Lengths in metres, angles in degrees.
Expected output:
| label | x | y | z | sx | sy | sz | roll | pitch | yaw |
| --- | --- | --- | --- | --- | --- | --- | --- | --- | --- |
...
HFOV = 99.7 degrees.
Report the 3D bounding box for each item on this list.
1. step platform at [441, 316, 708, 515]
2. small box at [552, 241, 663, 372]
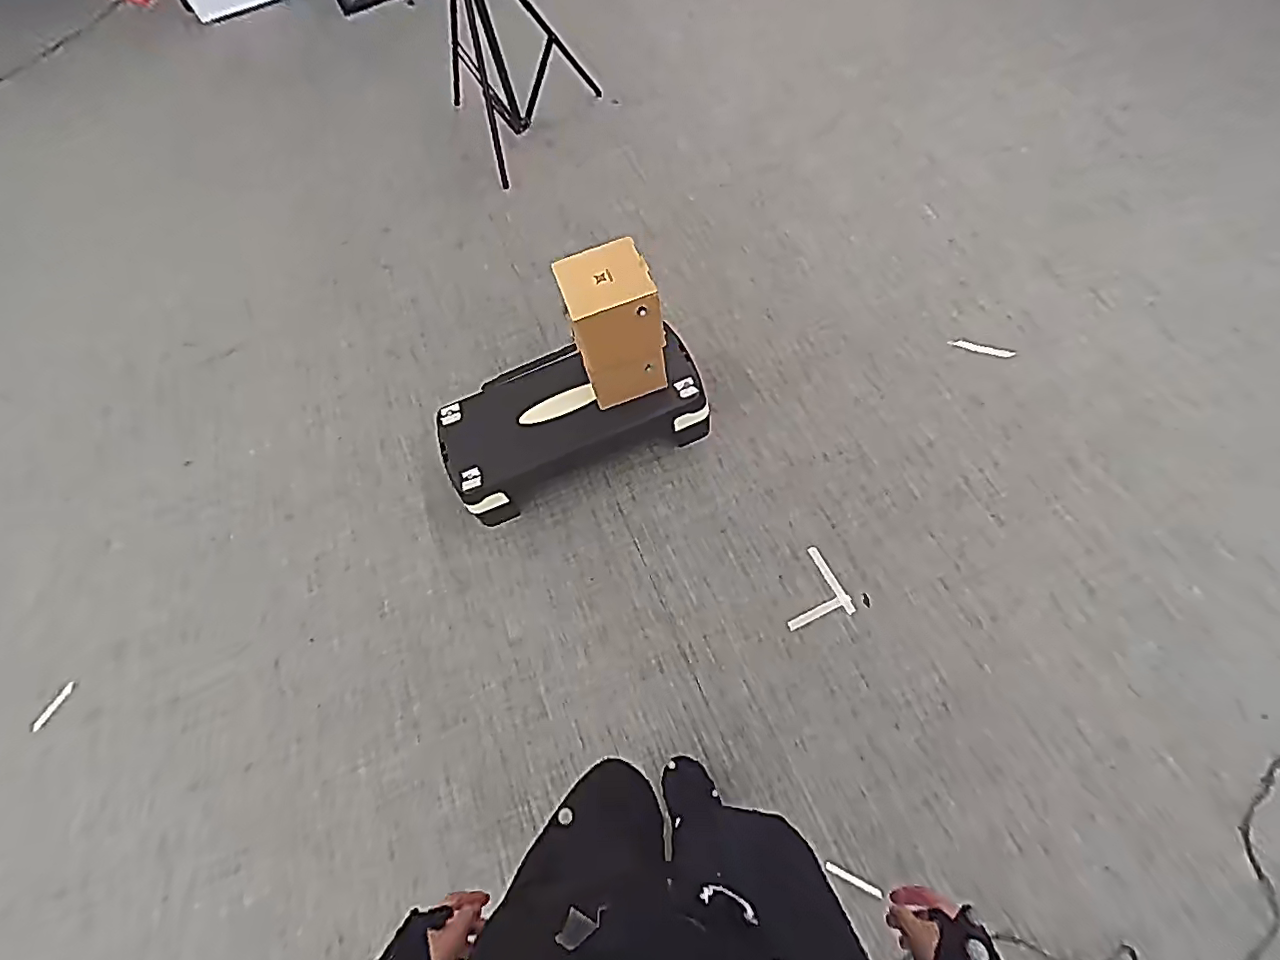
| label | x | y | z | sx | sy | sz | roll | pitch | yaw |
| --- | --- | --- | --- | --- | --- | --- | --- | --- | --- |
| step platform | -0.169 | -0.173 | 1.435 | 0.684 | 0.204 | 0.286 | -24 | 64 | -3 |
| small box | -0.063 | -0.355 | 1.131 | 0.179 | 0.176 | 0.168 | -20 | 65 | -3 |
